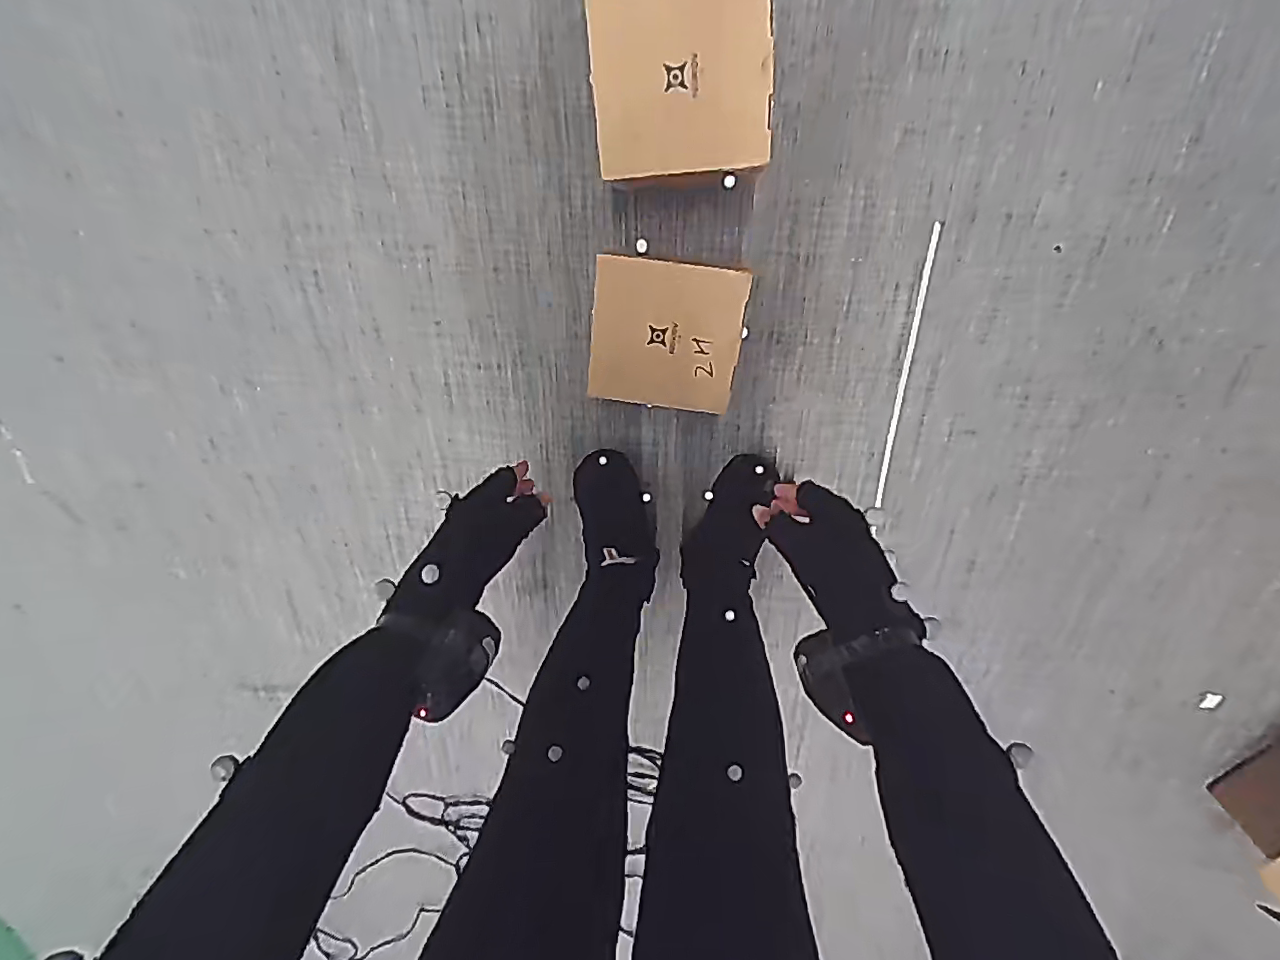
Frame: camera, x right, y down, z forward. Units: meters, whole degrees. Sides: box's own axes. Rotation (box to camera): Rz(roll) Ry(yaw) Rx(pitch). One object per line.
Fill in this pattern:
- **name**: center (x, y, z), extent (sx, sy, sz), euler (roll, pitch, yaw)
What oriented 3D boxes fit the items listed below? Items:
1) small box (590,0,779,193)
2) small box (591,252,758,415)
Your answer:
- **small box**: center (0.053, -0.419, 0.594), extent (0.179, 0.176, 0.168), euler (-2, 114, 7)
- **small box**: center (0.043, -0.196, 0.696), extent (0.179, 0.176, 0.168), euler (8, 116, 3)
